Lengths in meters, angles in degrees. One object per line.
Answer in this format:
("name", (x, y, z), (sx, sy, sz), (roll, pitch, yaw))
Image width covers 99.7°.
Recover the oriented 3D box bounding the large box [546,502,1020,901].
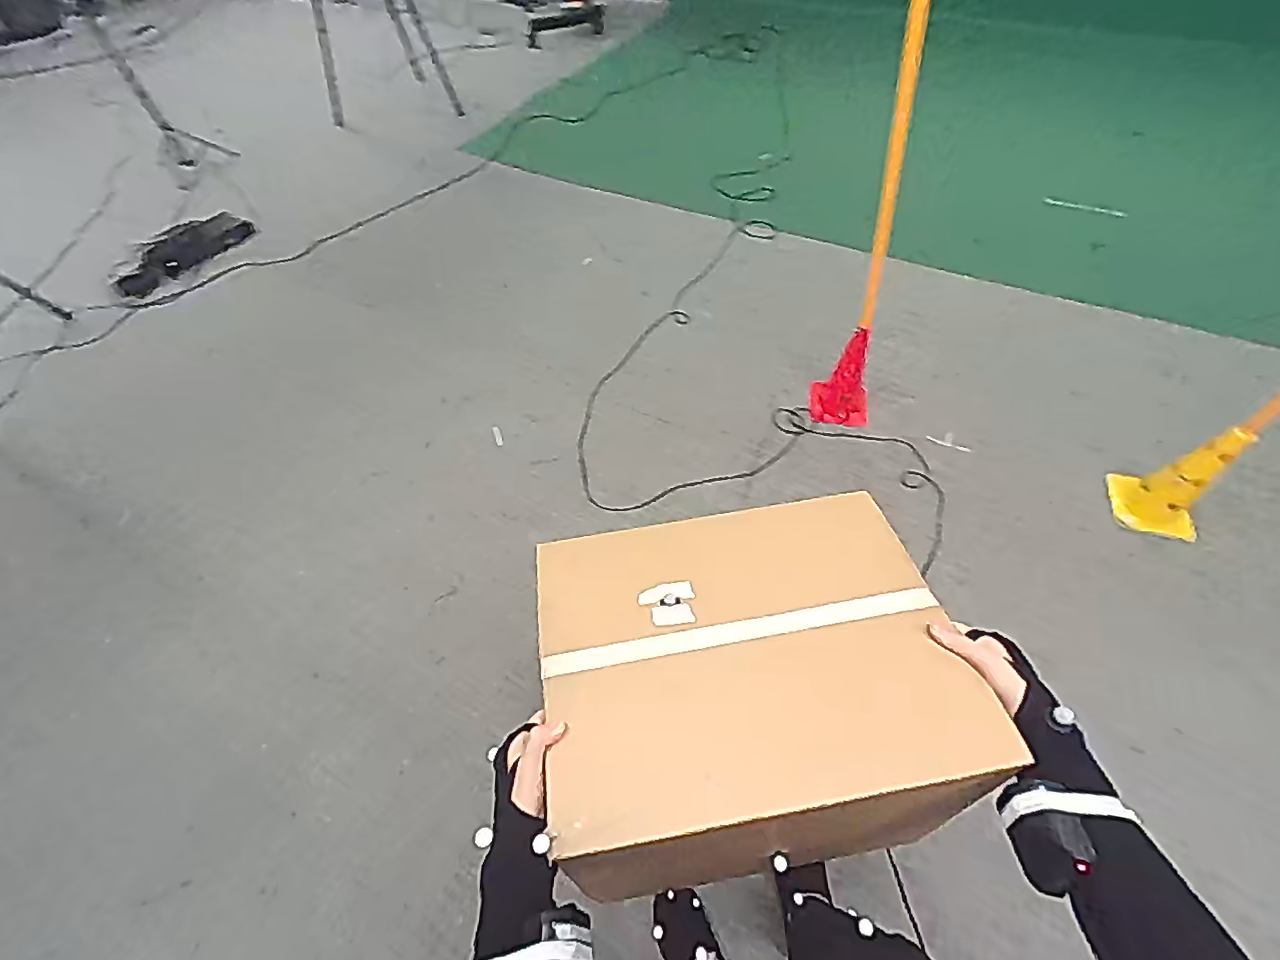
("large box", (0.121, 0.269, 0.656), (0.408, 0.320, 0.320), (-10, 46, -2))
